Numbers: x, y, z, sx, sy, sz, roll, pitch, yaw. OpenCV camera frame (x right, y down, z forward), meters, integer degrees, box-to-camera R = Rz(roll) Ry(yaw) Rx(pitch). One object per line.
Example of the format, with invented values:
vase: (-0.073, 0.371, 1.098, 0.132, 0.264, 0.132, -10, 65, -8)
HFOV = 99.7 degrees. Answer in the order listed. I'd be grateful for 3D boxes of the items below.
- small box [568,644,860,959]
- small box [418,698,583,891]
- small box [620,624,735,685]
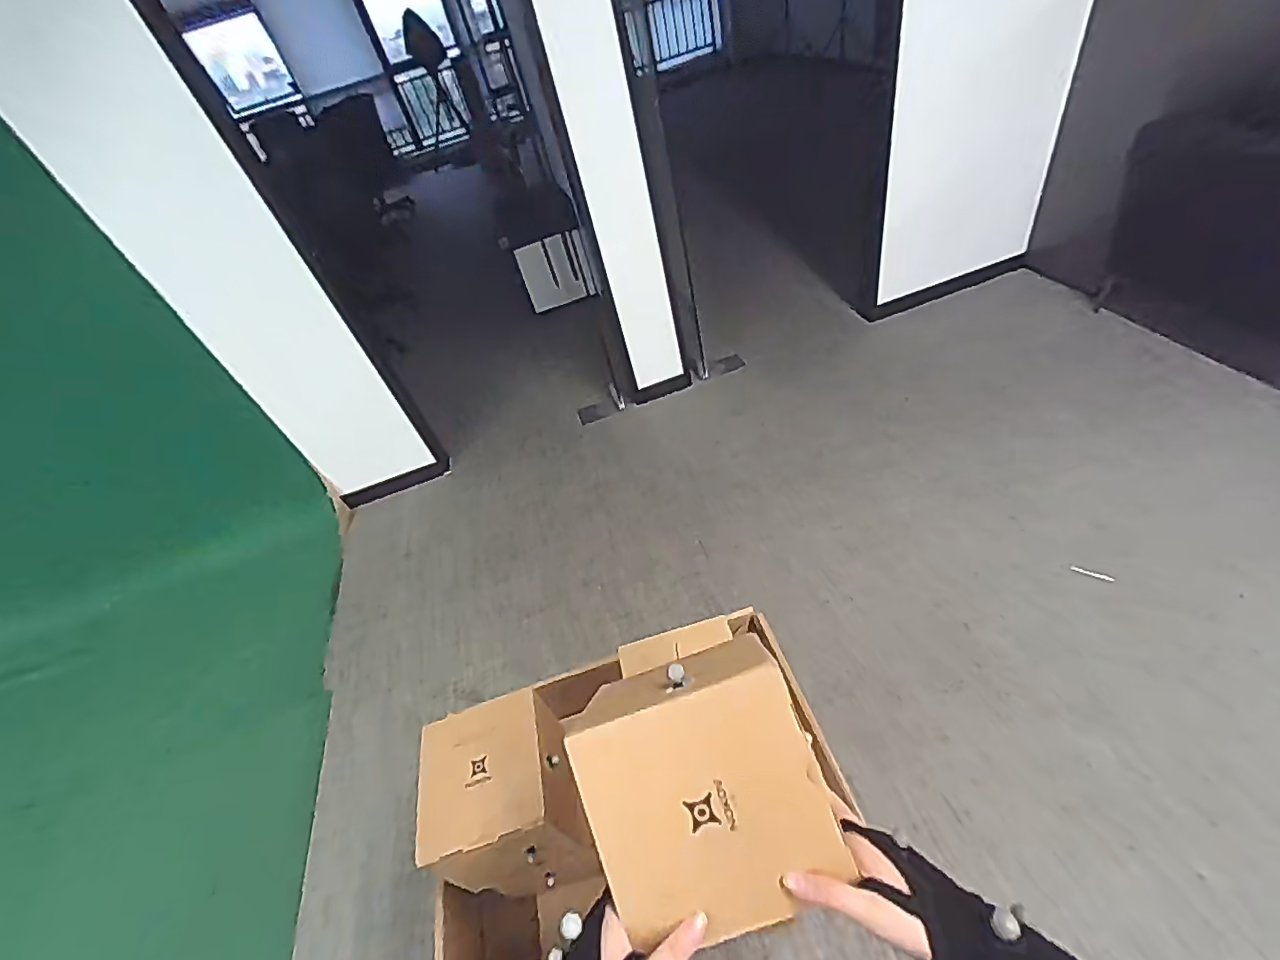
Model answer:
small box: (0.058, 0.258, 0.477, 0.179, 0.176, 0.168, -20, 79, 1)
small box: (-0.187, 0.443, 0.755, 0.168, 0.176, 0.179, -18, 43, -2)
small box: (0.082, 0.342, 0.772, 0.168, 0.176, 0.179, -17, 42, 0)
